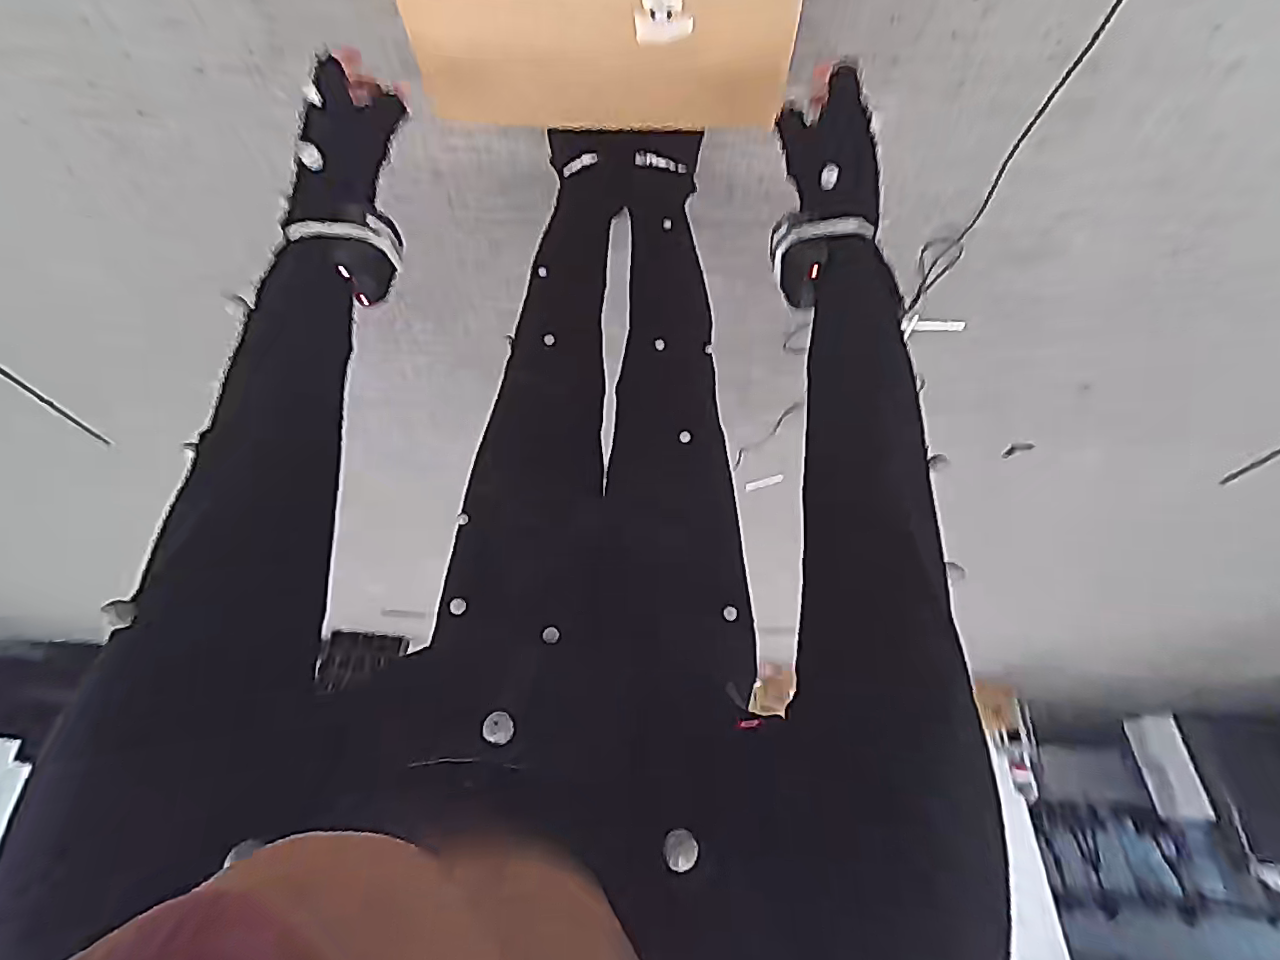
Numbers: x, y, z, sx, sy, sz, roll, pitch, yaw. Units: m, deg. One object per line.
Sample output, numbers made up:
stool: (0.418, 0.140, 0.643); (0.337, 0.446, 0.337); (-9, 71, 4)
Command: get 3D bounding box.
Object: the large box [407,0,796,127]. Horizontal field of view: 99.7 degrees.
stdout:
large box: (-0.039, -0.634, 0.594); (0.408, 0.320, 0.320); (1, 149, 2)
